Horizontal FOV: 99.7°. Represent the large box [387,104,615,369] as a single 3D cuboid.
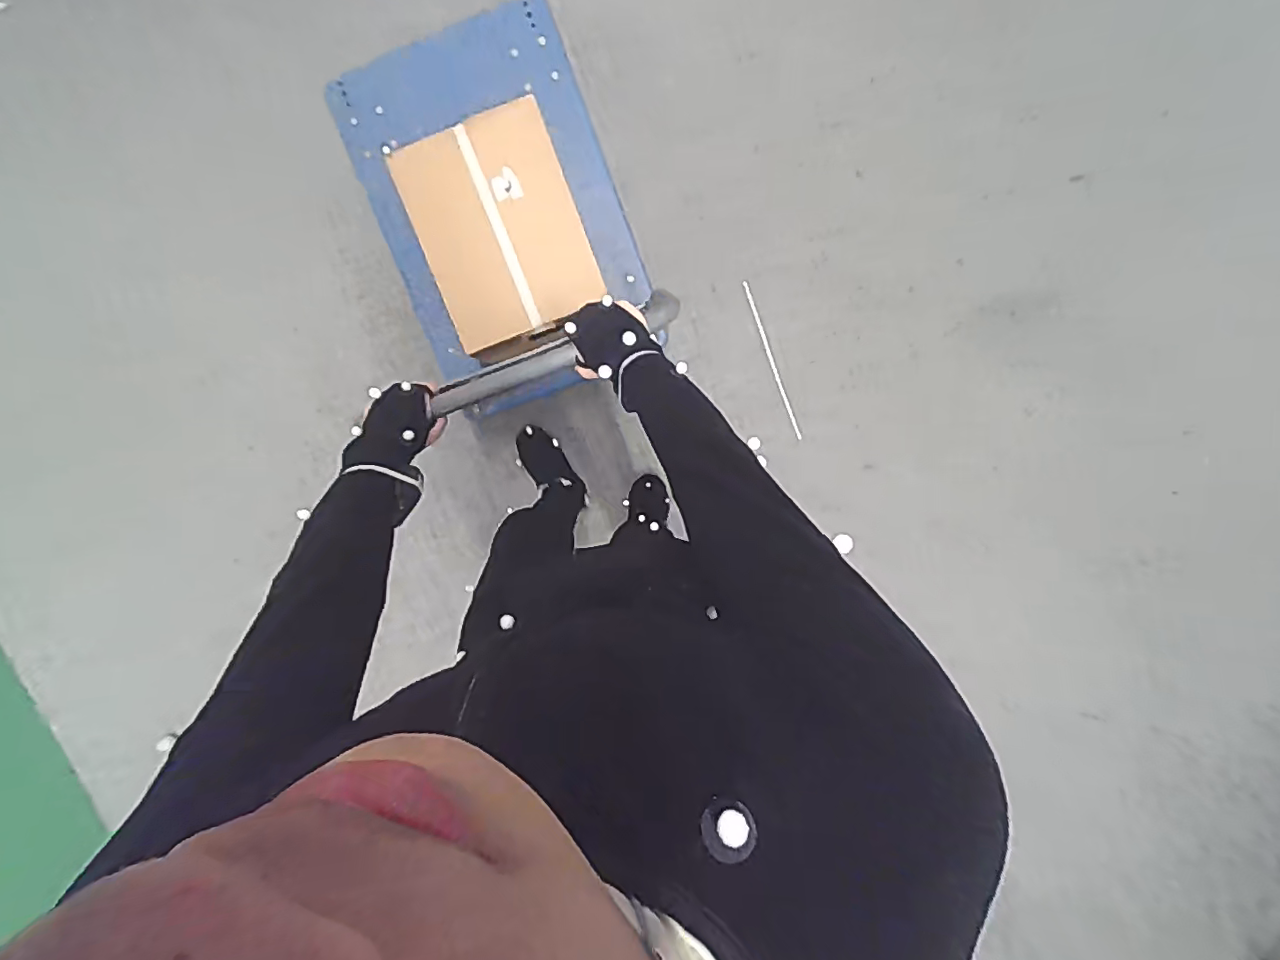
[{"bbox_3d":[-0.275,-0.501,1.207,0.320,0.320,0.408,-21,97,1],"label":"large box"}]
